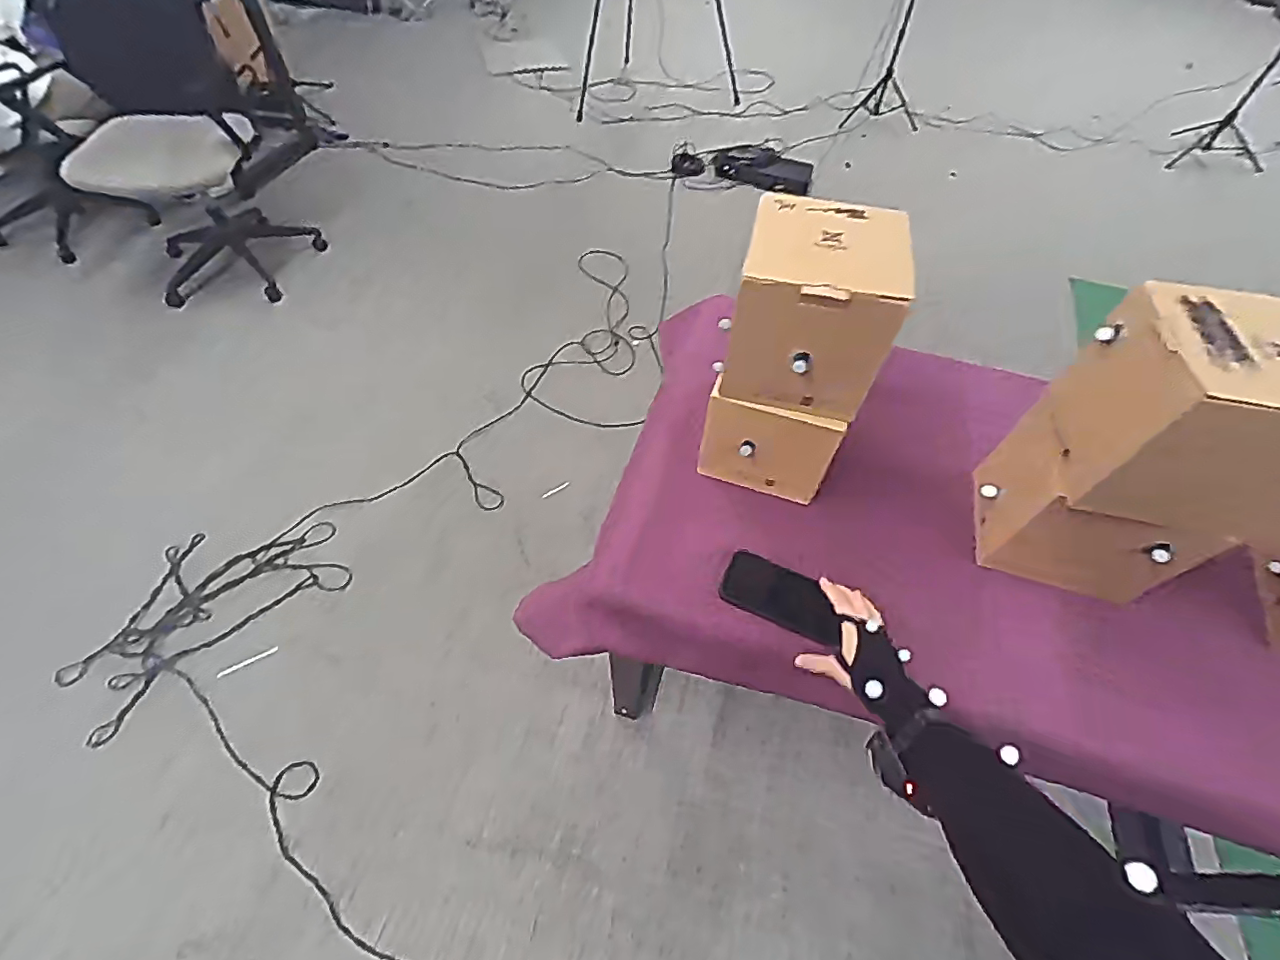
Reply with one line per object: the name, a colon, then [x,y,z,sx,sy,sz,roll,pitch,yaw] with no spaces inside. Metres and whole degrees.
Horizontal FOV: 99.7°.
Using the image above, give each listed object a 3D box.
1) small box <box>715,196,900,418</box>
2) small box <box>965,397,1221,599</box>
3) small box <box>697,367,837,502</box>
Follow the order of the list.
small box: [0.188,-0.198,0.635,0.168,0.176,0.179,13,56,8]
small box: [0.543,0.029,0.680,0.179,0.176,0.168,17,56,11]
small box: [0.183,-0.096,0.764,0.168,0.176,0.179,17,56,11]
